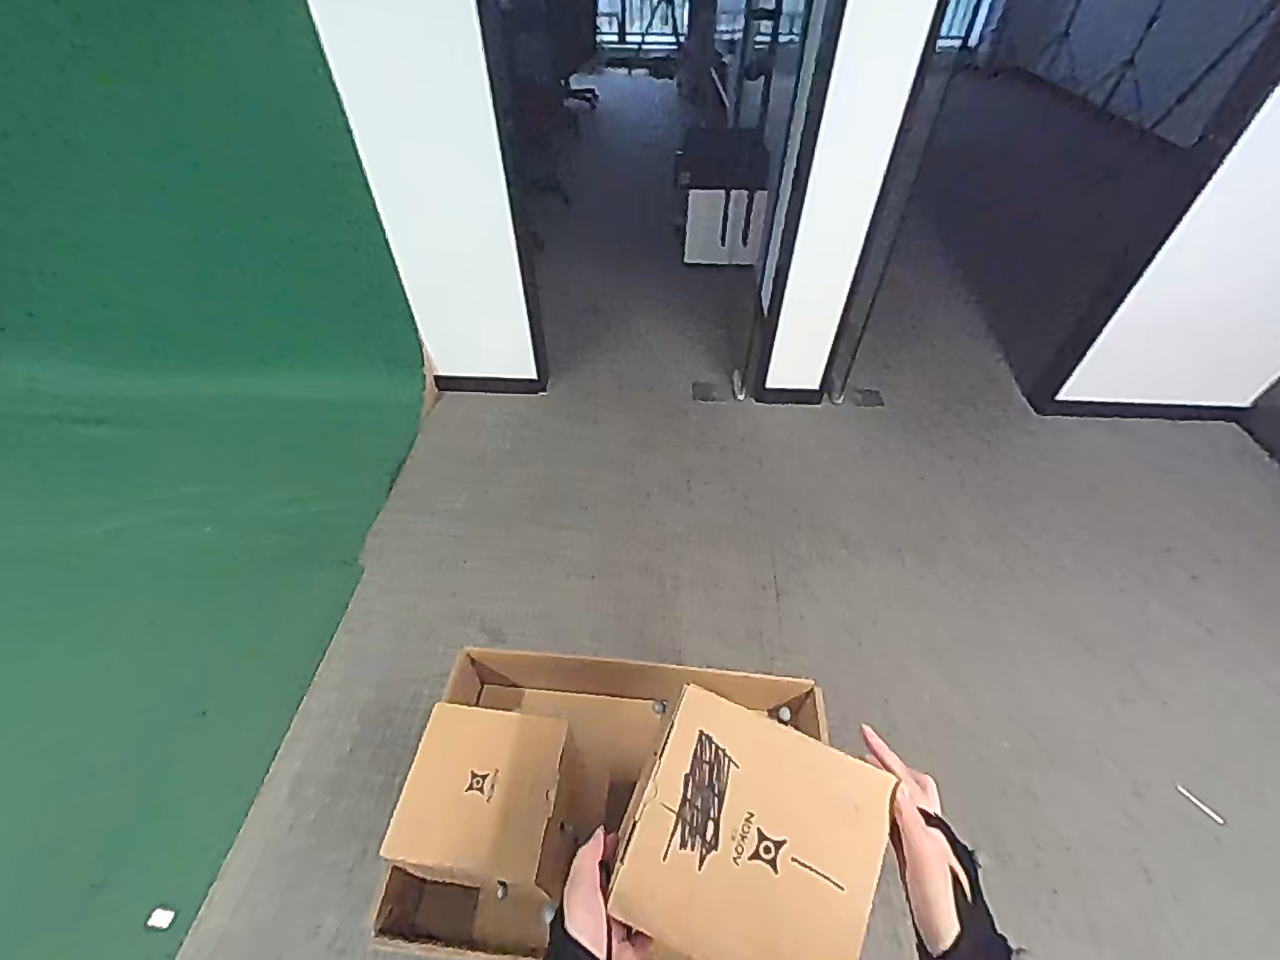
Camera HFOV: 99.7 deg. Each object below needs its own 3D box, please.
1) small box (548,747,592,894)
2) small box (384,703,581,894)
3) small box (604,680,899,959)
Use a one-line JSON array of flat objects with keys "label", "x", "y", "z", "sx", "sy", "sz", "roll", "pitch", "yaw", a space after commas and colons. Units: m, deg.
[{"label": "small box", "x": -0.175, "y": 0.502, "z": 0.810, "sx": 0.179, "sy": 0.176, "sz": 0.168, "roll": 5, "pitch": 48, "yaw": 5}, {"label": "small box", "x": -0.179, "y": 0.403, "z": 0.681, "sx": 0.179, "sy": 0.176, "sz": 0.168, "roll": 6, "pitch": 48, "yaw": 5}, {"label": "small box", "x": 0.085, "y": 0.287, "z": 0.467, "sx": 0.179, "sy": 0.176, "sz": 0.168, "roll": 21, "pitch": 73, "yaw": 8}]
